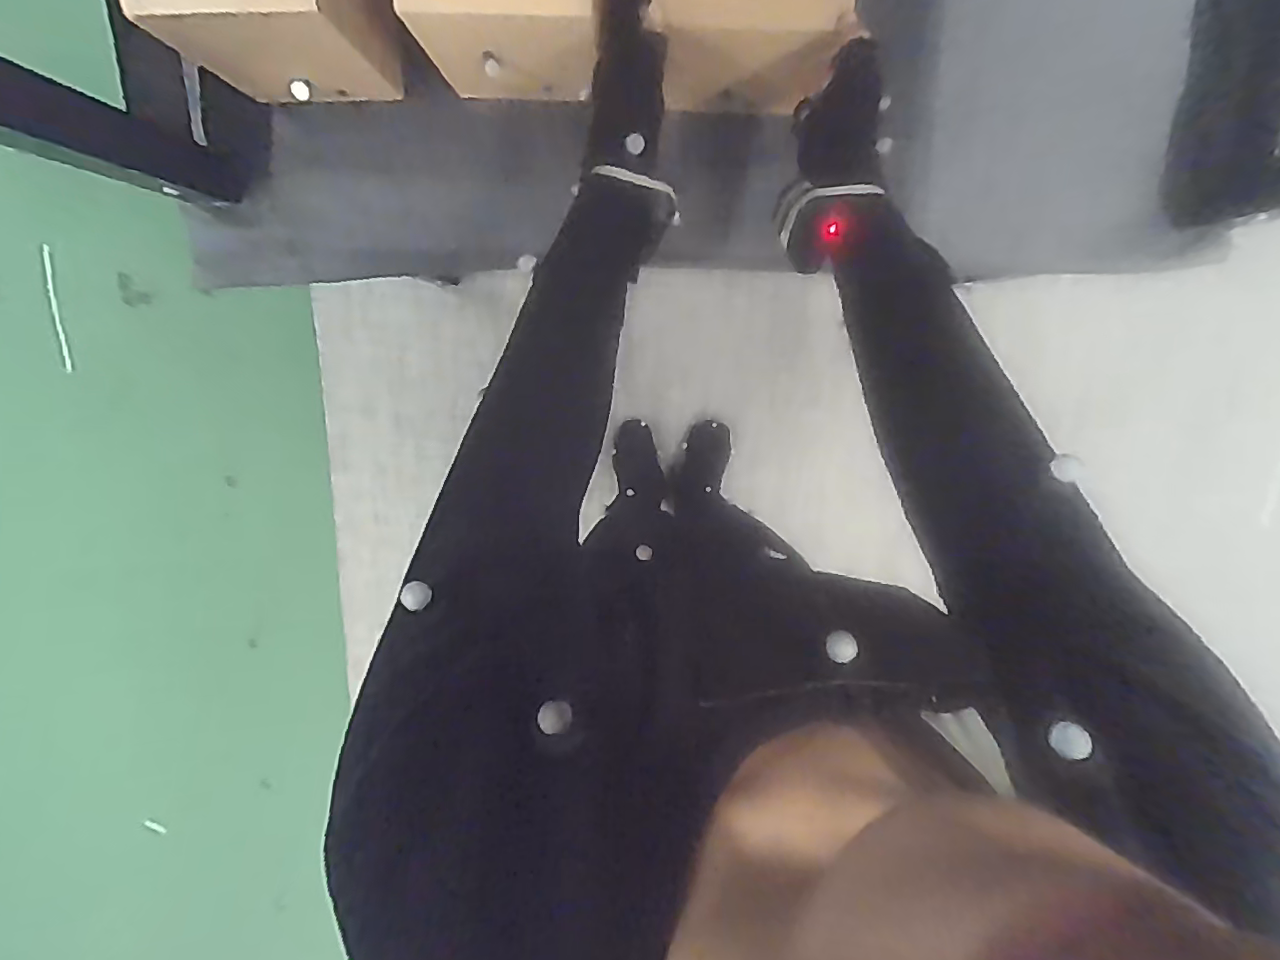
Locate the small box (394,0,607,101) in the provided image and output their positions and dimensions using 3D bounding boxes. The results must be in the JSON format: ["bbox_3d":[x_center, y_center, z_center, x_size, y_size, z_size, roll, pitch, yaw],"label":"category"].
[{"bbox_3d":[-0.117,-0.484,0.503,0.168,0.176,0.179,2,103,0],"label":"small box"}]

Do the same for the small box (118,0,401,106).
[{"bbox_3d":[-0.345,-0.484,0.504,0.168,0.176,0.179,0,103,1],"label":"small box"}]
